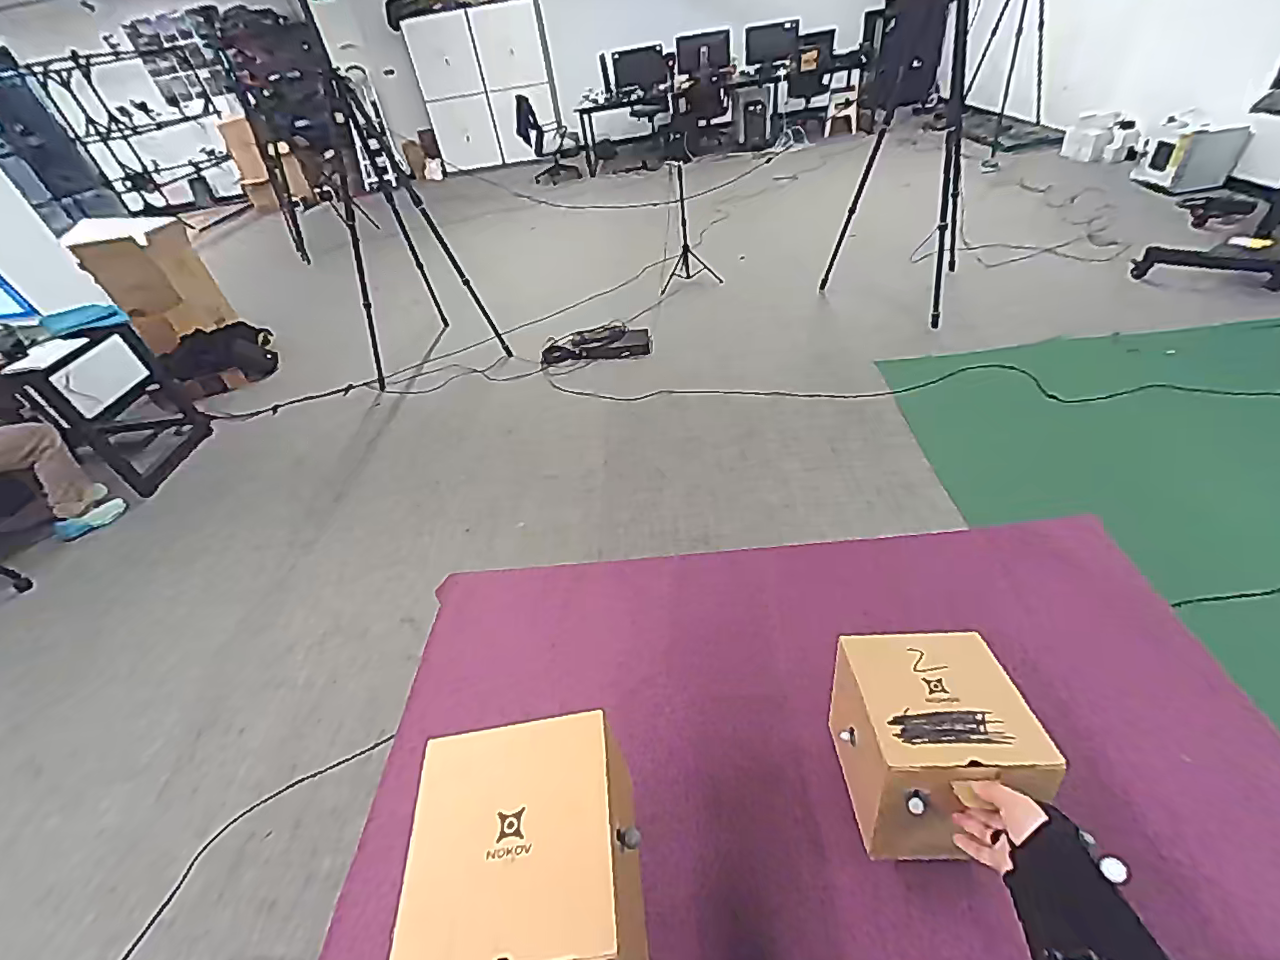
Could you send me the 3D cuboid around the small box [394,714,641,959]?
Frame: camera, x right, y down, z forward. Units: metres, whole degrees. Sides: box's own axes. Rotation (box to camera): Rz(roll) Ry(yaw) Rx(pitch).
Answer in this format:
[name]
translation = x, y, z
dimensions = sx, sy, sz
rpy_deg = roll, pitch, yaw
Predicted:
[small box]
translation = -0.097, 0.349, 0.501
dimensions = 0.168, 0.176, 0.179
rpy_deg = -10, 43, 0
